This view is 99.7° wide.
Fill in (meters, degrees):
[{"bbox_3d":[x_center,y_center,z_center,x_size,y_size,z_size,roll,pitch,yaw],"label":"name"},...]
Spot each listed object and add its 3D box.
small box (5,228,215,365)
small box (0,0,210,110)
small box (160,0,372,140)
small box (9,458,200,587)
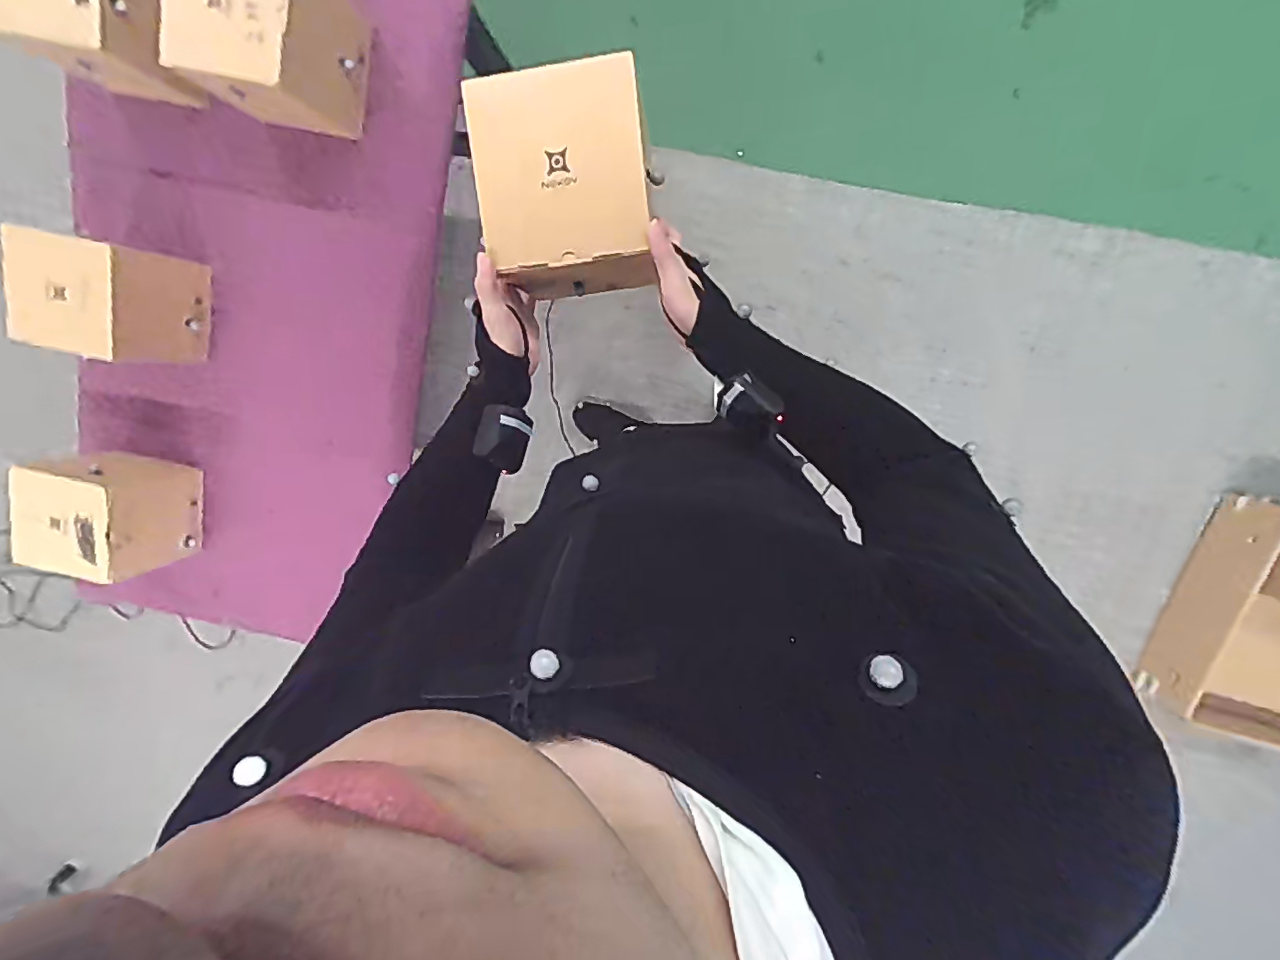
[{"bbox_3d":[-0.835,-0.281,0.864,0.179,0.176,0.168,13,102,3],"label":"small box"},{"bbox_3d":[-0.770,-0.670,0.781,0.179,0.176,0.168,12,102,4],"label":"small box"},{"bbox_3d":[-0.516,-0.609,0.760,0.179,0.176,0.168,14,103,5],"label":"small box"},{"bbox_3d":[-0.908,0.063,0.933,0.179,0.176,0.168,12,101,5],"label":"small box"}]
